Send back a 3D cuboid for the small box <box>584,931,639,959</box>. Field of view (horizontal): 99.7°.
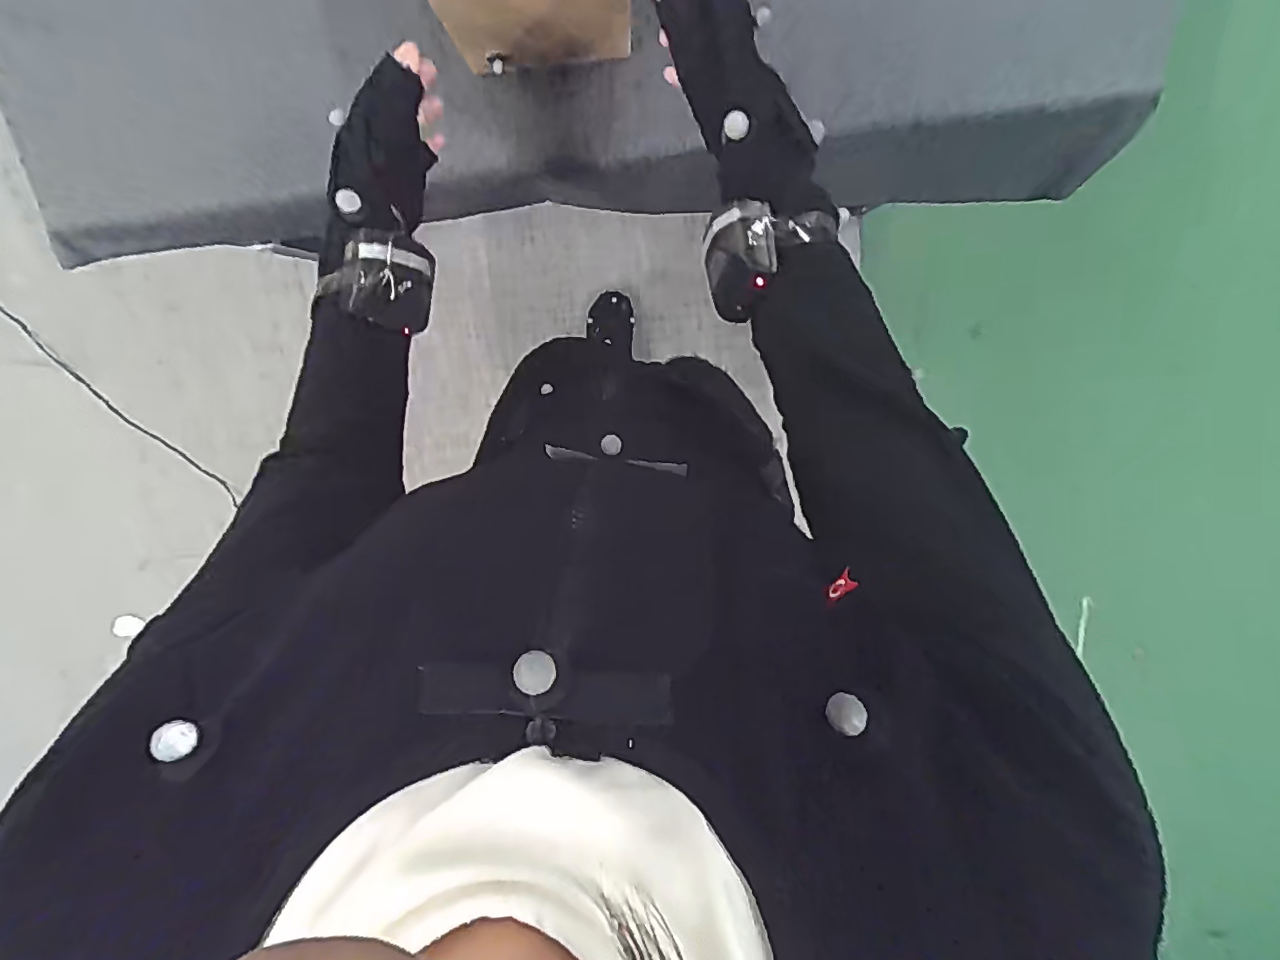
[{"bbox_3d":[-0.094,1.668,1.822,0.179,0.176,0.168,-8,108,2],"label":"small box"}]

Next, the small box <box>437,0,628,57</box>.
[{"bbox_3d":[-0.100,-0.498,0.461,0.168,0.176,0.179,-6,105,1],"label":"small box"}]
